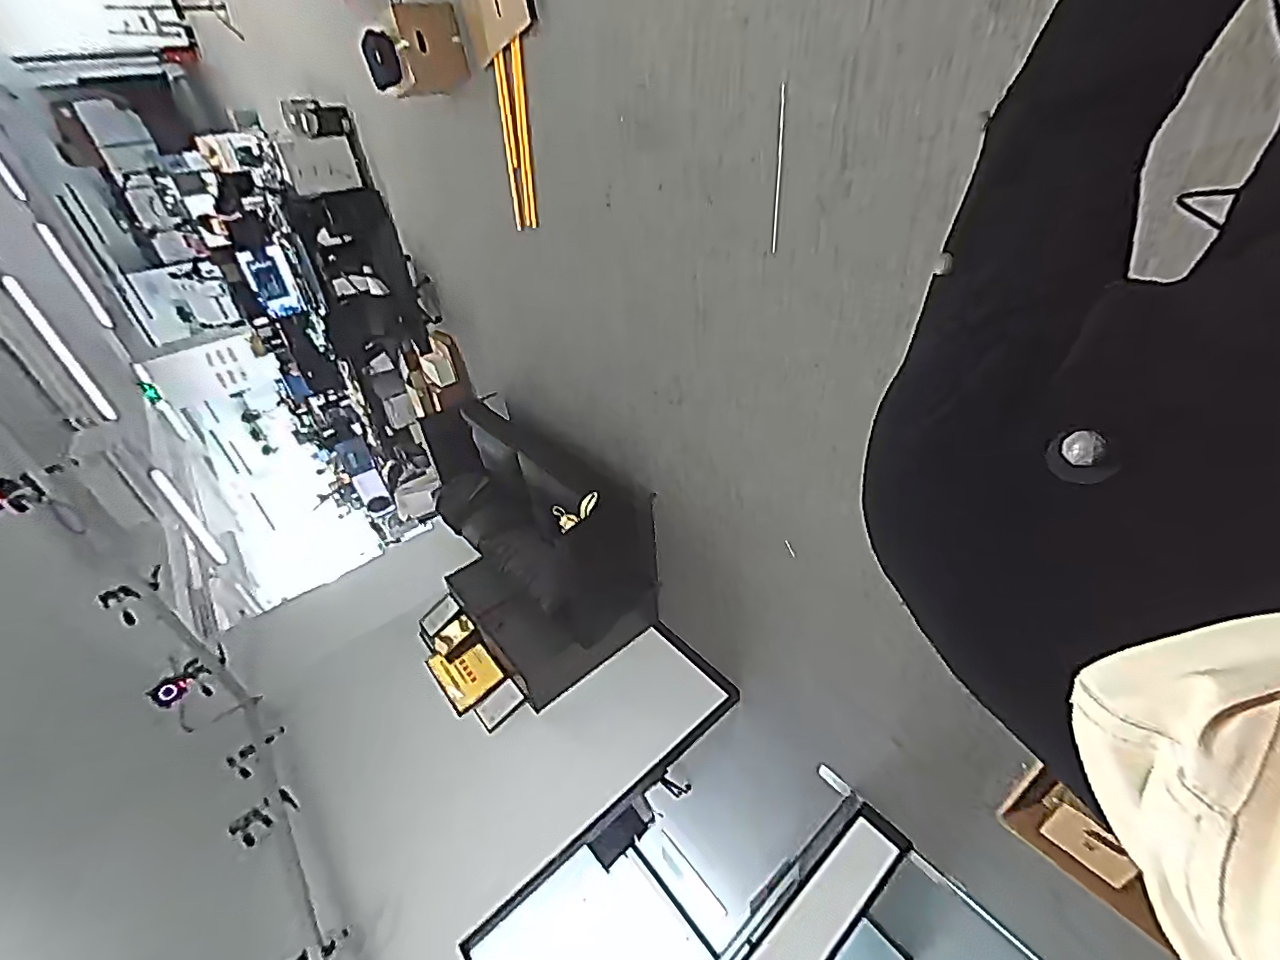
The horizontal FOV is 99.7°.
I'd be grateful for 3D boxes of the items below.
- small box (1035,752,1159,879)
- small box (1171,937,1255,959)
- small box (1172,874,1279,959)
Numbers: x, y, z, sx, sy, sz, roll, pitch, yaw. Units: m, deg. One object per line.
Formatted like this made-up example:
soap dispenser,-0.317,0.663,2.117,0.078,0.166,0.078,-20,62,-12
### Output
small box,1.113,0.808,1.316,0.168,0.176,0.179,33,142,39
small box,1.206,1.085,1.095,0.168,0.176,0.179,35,142,35
small box,1.328,1.013,1.175,0.168,0.176,0.179,33,141,37
